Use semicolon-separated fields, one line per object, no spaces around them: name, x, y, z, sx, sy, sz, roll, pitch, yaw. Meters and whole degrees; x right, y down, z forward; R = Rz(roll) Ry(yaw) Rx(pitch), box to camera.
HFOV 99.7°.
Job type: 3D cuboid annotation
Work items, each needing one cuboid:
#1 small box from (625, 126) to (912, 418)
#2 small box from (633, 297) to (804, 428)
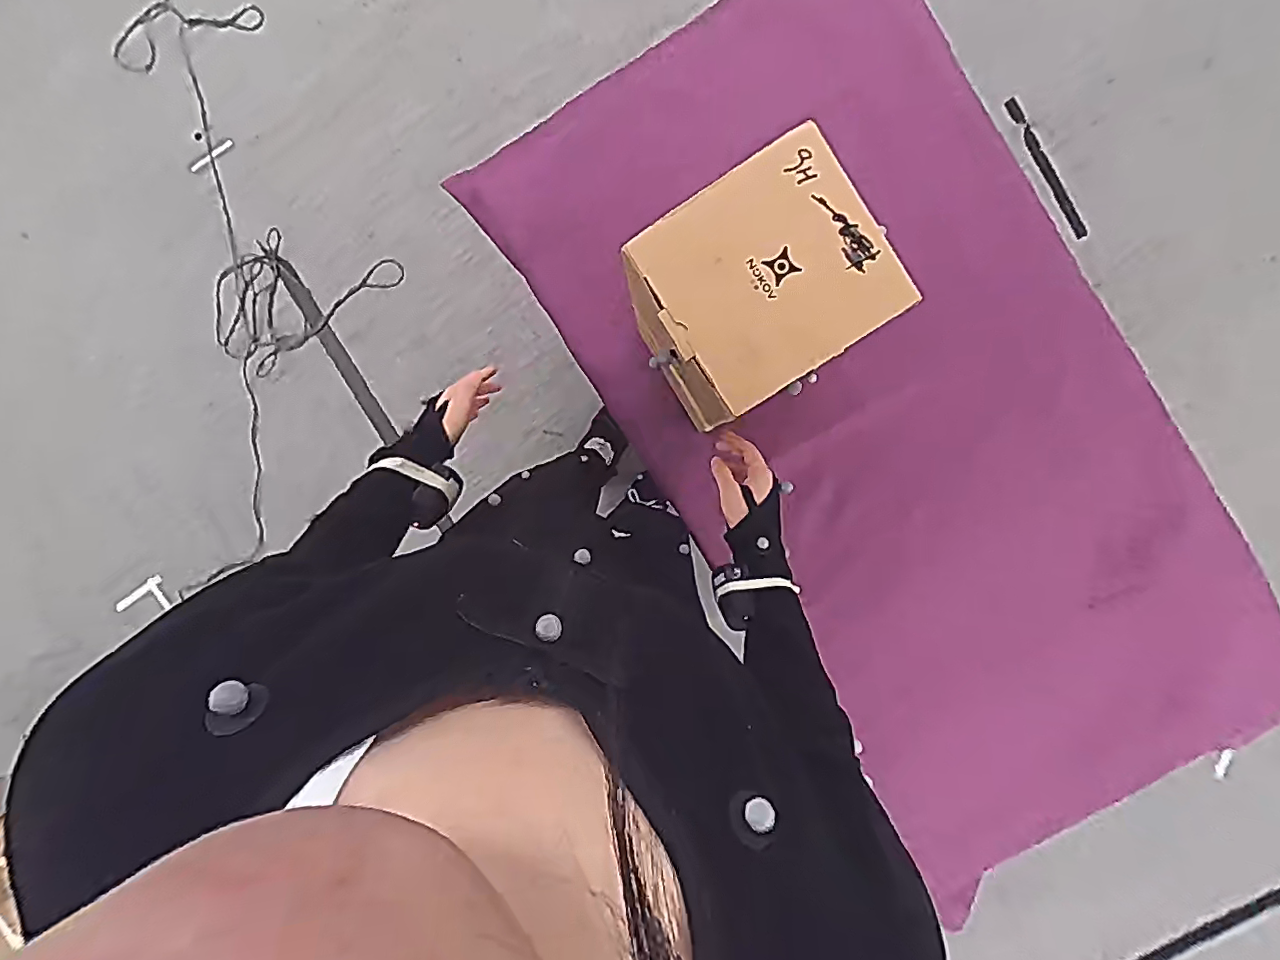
small box;0.106;-0.170;0.510;0.179;0.176;0.168;-32;92;4
small box;0.110;-0.176;0.674;0.179;0.176;0.168;-31;92;3
